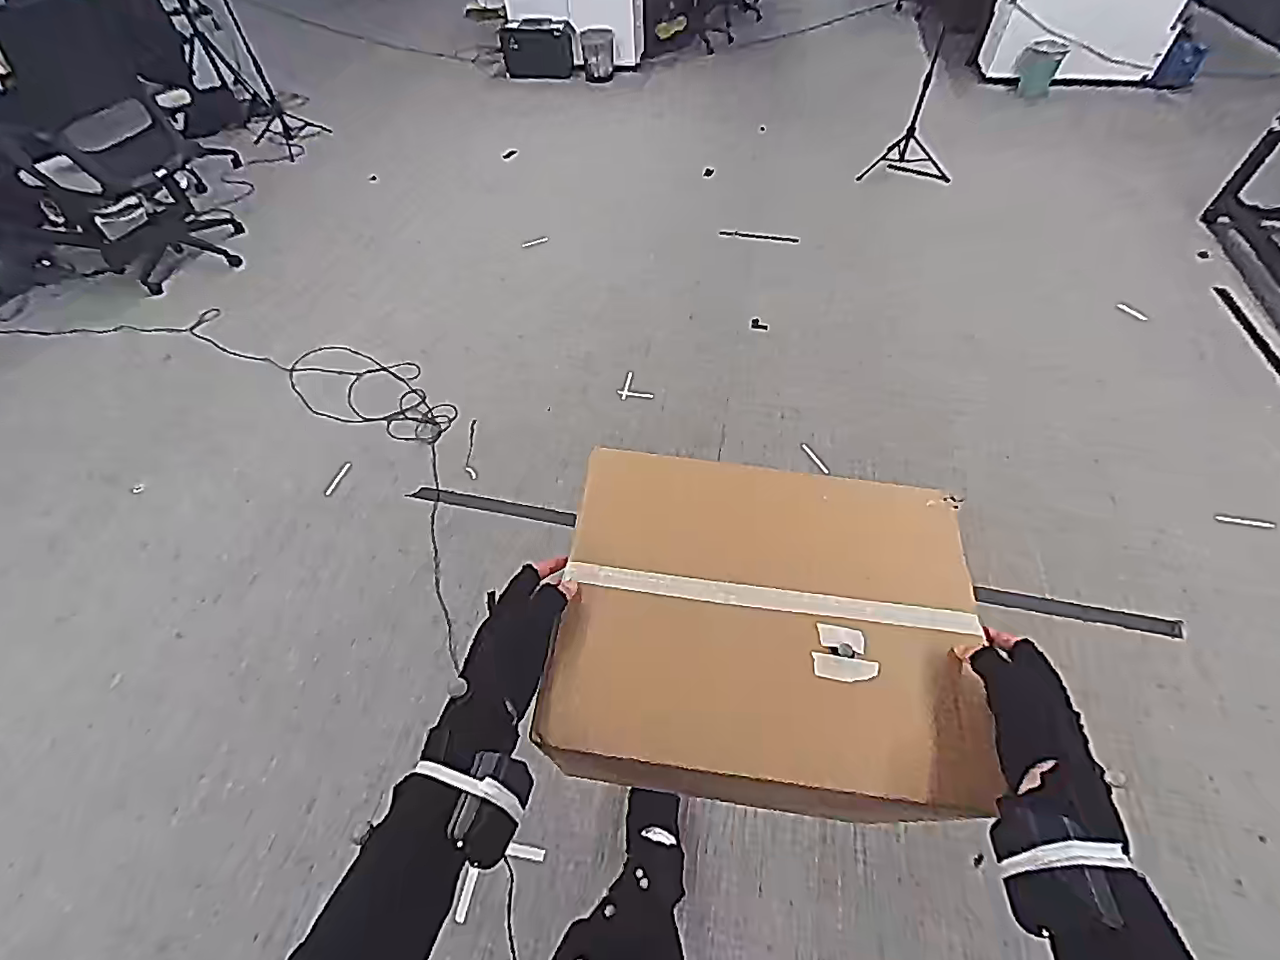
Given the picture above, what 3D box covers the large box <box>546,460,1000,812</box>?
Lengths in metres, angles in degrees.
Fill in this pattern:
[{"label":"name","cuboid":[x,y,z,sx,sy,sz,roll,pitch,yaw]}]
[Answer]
[{"label":"large box","cuboid":[0.123,0.204,0.671,0.408,0.320,0.320,7,57,3]}]
